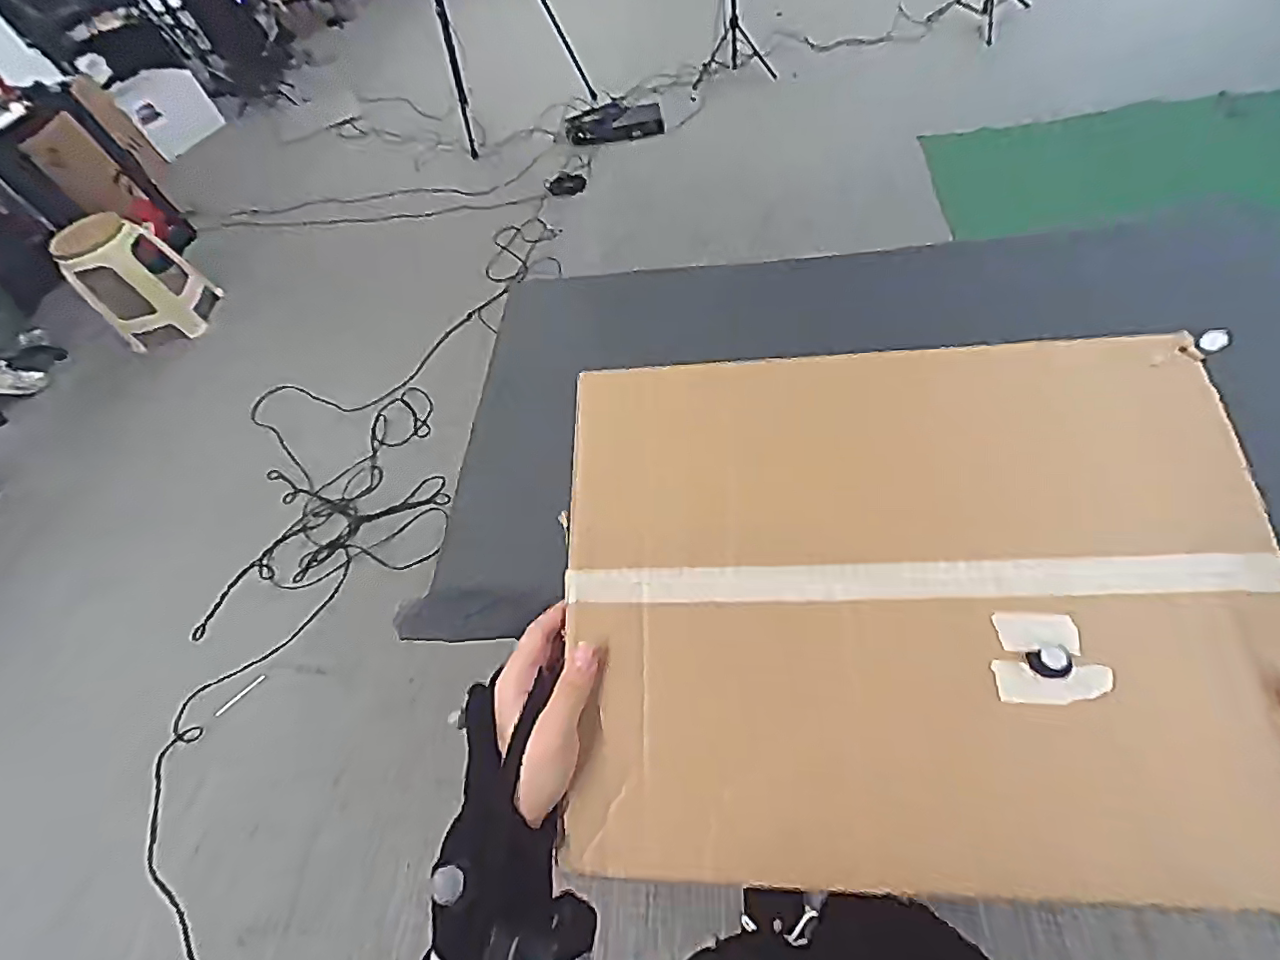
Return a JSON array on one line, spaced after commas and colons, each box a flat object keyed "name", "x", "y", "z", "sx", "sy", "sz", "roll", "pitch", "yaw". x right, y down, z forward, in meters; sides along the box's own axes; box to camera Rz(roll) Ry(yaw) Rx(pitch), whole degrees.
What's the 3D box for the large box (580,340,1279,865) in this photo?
[{"name": "large box", "x": 0.175, "y": 0.108, "z": 0.475, "sx": 0.408, "sy": 0.320, "sz": 0.320, "roll": -2, "pitch": 70, "yaw": 6}]
